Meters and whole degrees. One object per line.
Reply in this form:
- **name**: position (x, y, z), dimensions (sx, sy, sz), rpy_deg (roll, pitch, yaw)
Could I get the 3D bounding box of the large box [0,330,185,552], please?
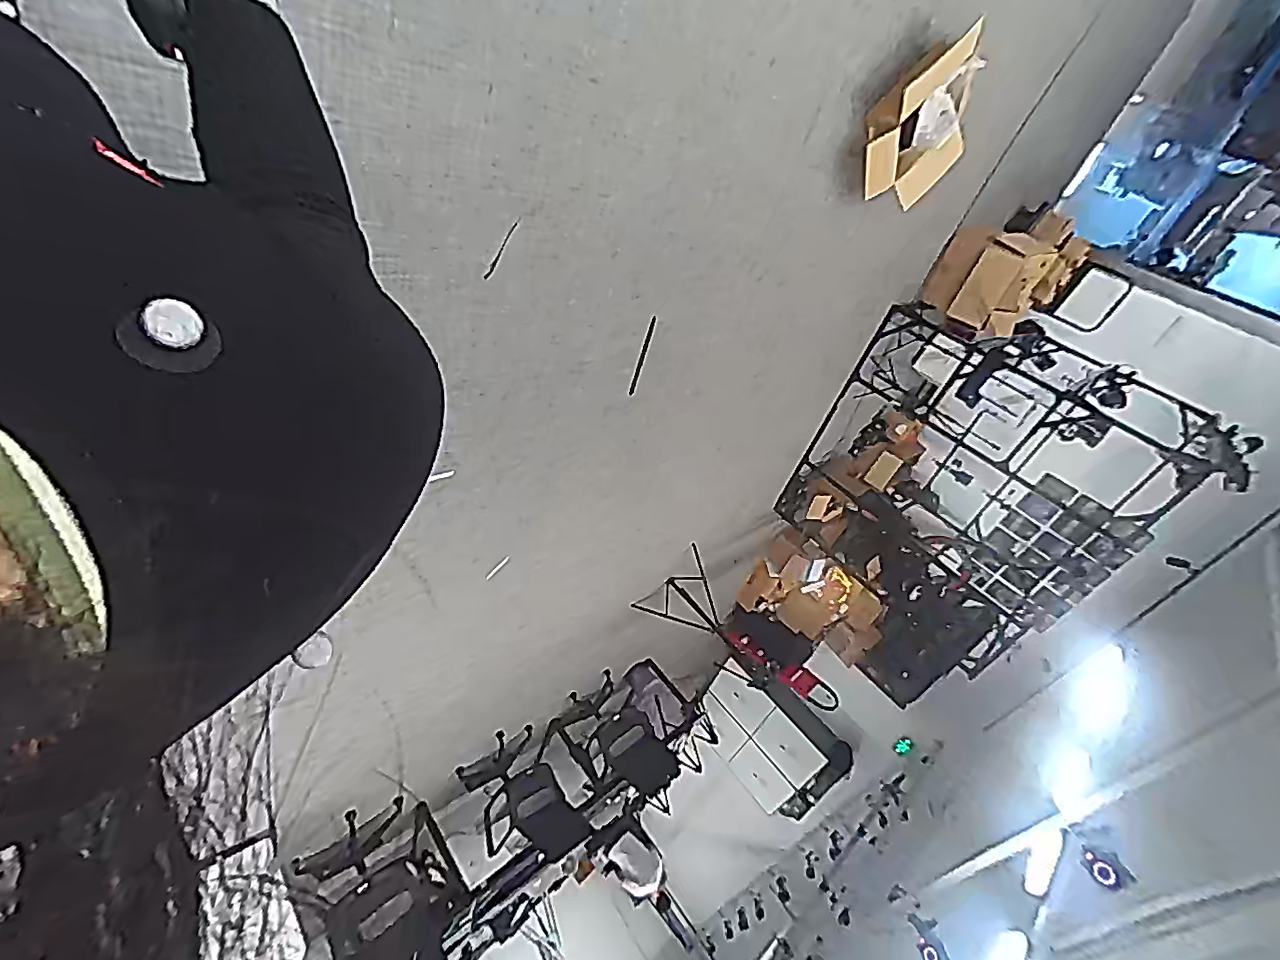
- **large box**: position (-1.191, -0.086, 1.060), dimensions (0.408, 0.320, 0.320), rpy_deg (-12, 136, -48)
